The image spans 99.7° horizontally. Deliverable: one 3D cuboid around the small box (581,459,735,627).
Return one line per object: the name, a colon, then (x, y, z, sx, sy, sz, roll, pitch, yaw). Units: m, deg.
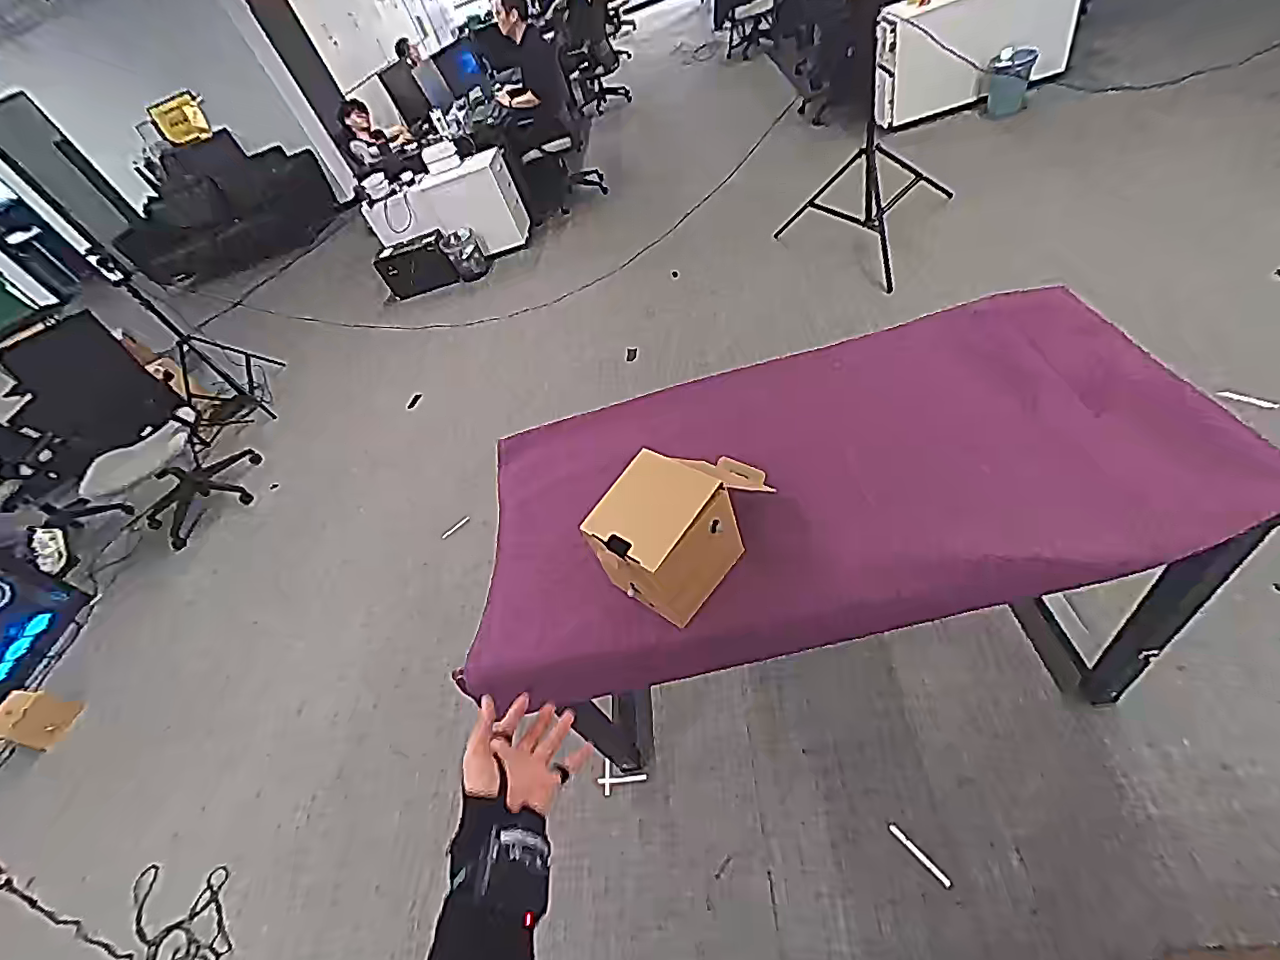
small box: (0.040, 0.101, 0.884, 0.168, 0.176, 0.179, 25, 61, 39)
